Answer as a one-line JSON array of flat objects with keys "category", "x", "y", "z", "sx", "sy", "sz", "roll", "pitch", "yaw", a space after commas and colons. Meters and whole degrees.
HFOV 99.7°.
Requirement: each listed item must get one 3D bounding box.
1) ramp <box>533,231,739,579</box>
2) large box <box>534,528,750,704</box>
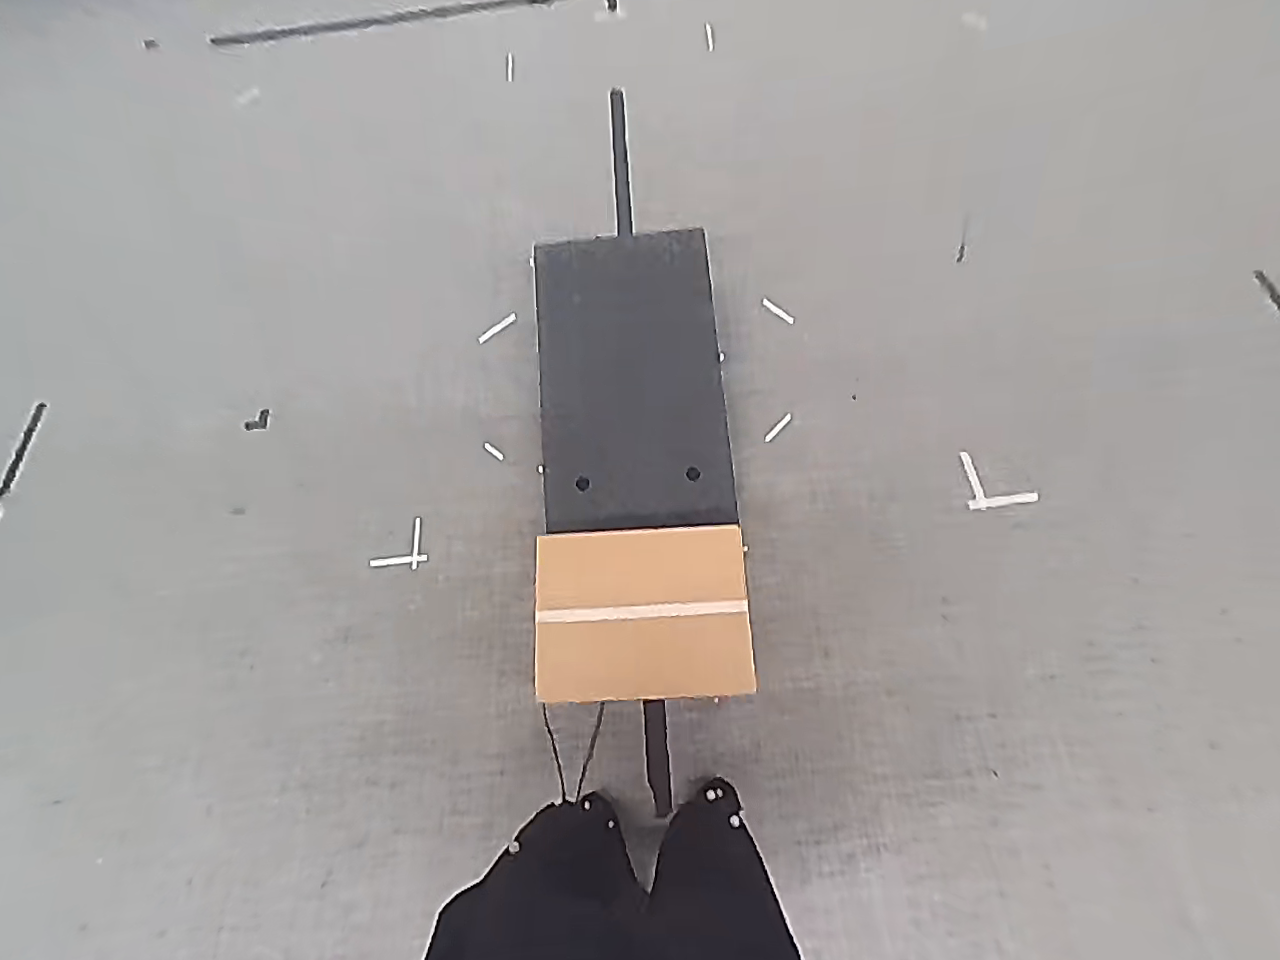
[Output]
[{"category": "ramp", "x": -0.026, "y": -0.205, "z": 1.451, "sx": 0.509, "sy": 0.206, "sz": 0.991, "roll": -6, "pitch": 68, "yaw": 0}, {"category": "large box", "x": 0.004, "y": 0.296, "z": 1.174, "sx": 0.408, "sy": 0.320, "sz": 0.320, "roll": -3, "pitch": 72, "yaw": 2}]
